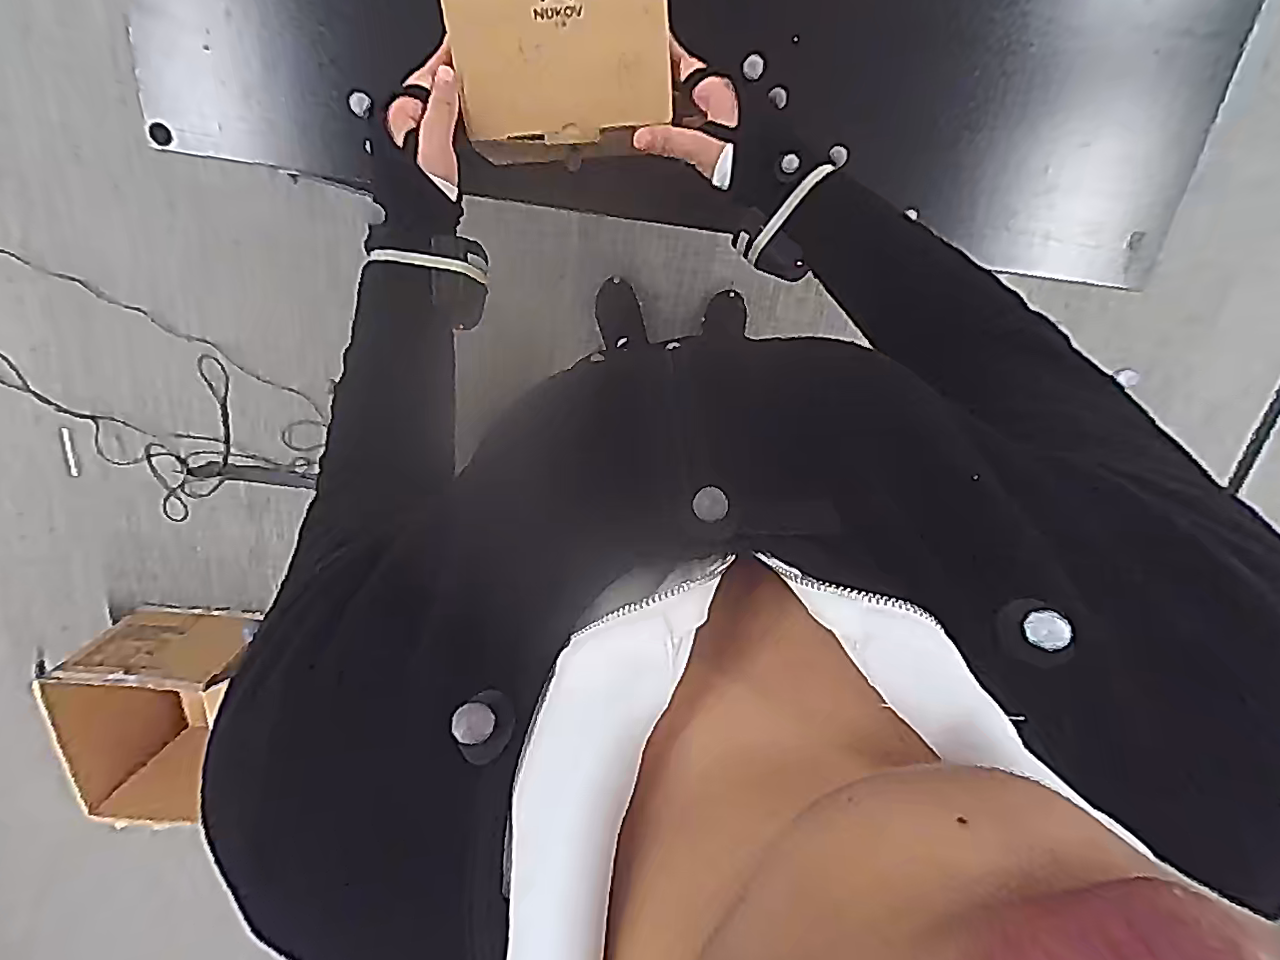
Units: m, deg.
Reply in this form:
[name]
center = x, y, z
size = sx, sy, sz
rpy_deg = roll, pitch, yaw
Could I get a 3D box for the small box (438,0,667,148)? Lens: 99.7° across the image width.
[small box]
center = -0.071, -0.390, 0.457
size = 0.168, 0.176, 0.179
rpy_deg = -7, 117, -3
